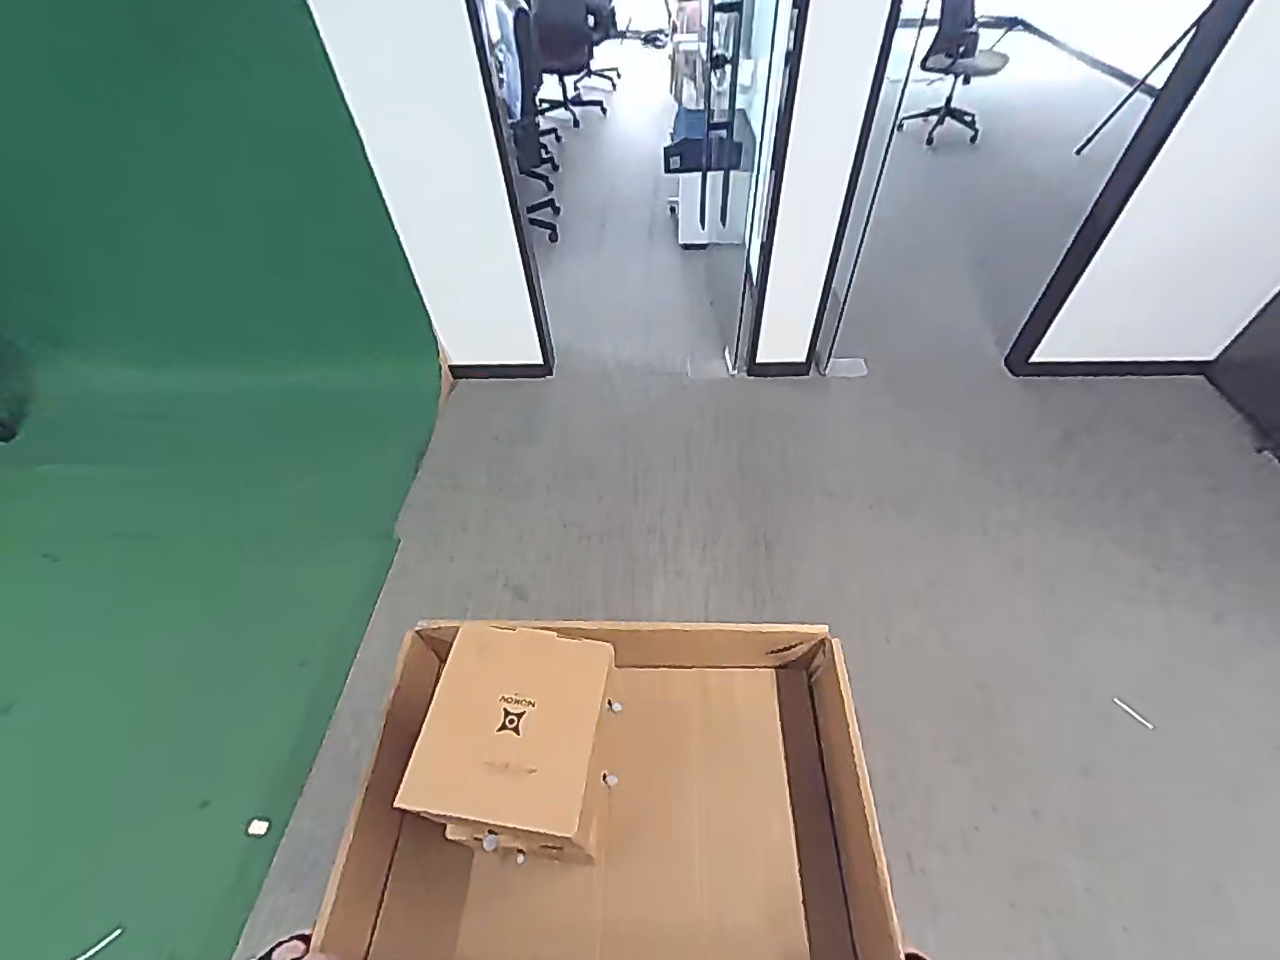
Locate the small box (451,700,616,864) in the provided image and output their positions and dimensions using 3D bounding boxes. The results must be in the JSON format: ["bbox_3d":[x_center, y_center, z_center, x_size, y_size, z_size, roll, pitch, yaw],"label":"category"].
[{"bbox_3d":[-0.123,0.382,0.703,0.168,0.176,0.179,5,53,2],"label":"small box"}]

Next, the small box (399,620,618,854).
[{"bbox_3d":[-0.120,0.276,0.578,0.168,0.176,0.179,8,52,5],"label":"small box"}]
